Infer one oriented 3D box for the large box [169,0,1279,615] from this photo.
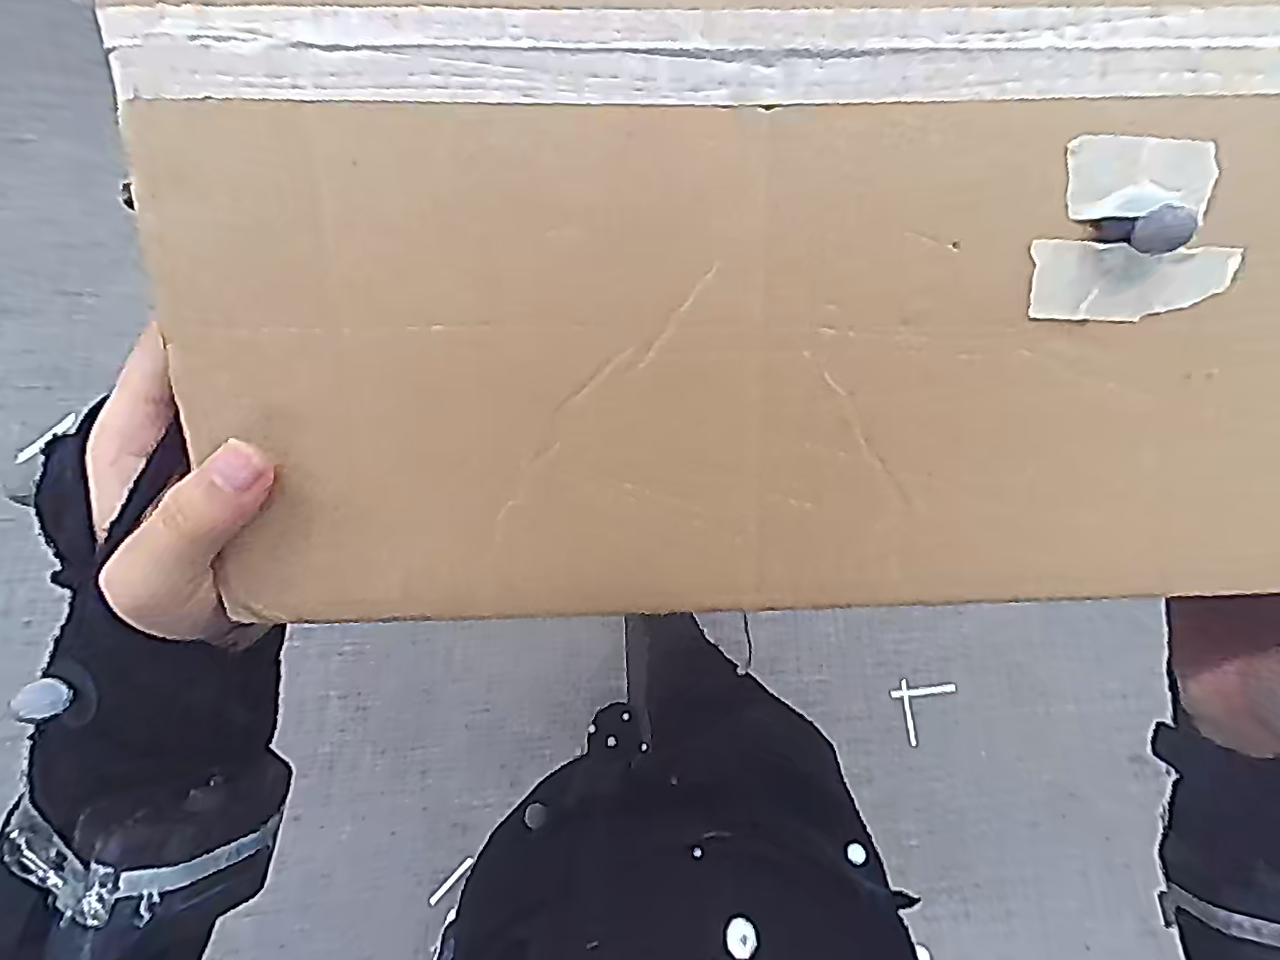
[{"bbox_3d":[0.060,-0.141,0.306,0.408,0.320,0.320,-2,102,-3],"label":"large box"}]
